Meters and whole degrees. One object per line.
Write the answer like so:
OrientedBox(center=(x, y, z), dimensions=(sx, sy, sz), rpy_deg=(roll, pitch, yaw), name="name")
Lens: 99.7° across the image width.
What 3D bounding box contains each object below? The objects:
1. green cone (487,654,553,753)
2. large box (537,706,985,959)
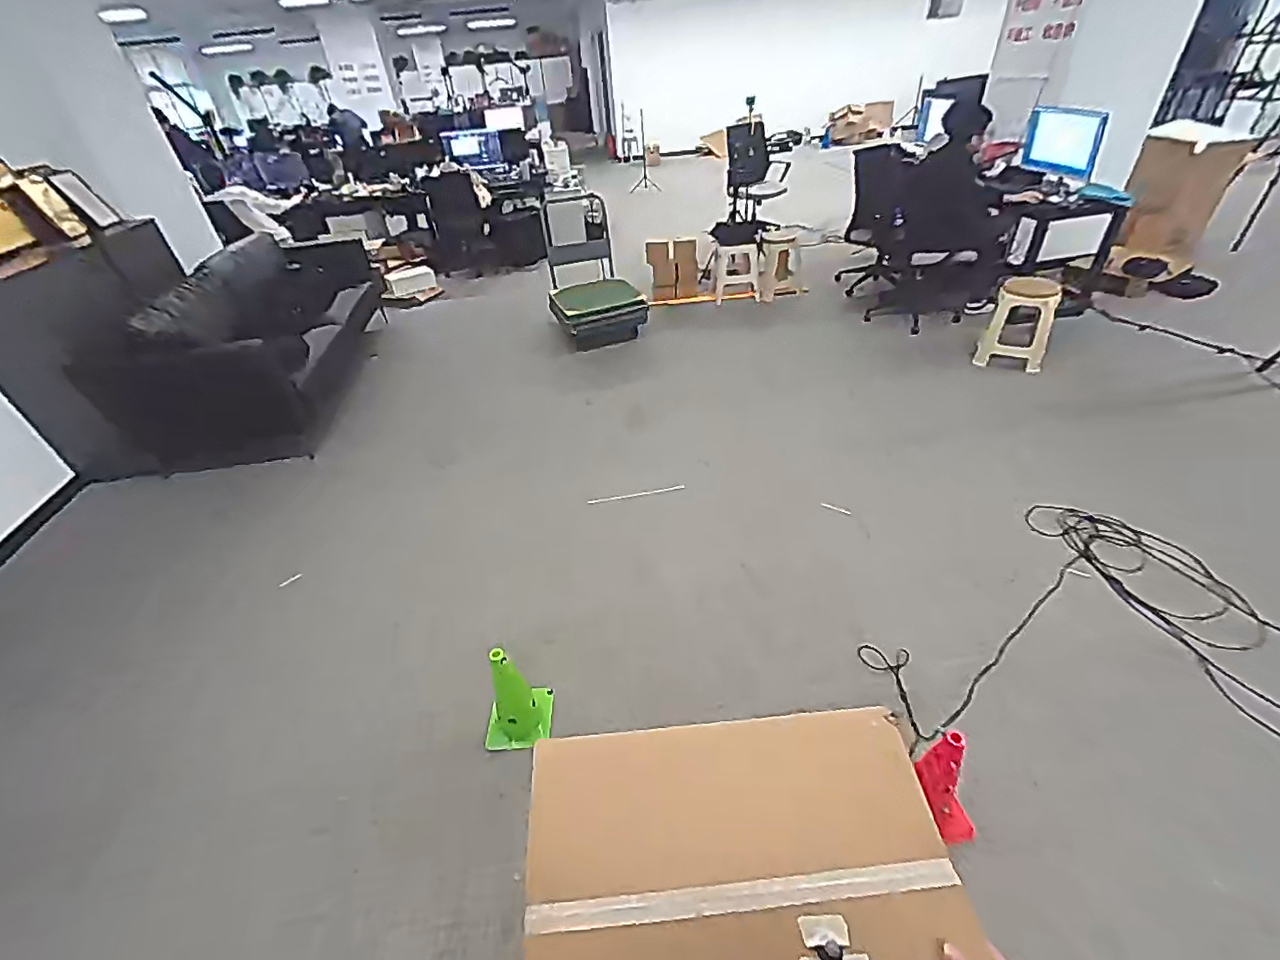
OrientedBox(center=(-0.400, 0.644, 1.641), dimensions=(0.200, 0.368, 0.202), rpy_deg=(-6, 39, 1), name="green cone")
OrientedBox(center=(0.104, 0.495, 0.620), dimensions=(0.408, 0.320, 0.320), rpy_deg=(-5, 47, -2), name="large box")
